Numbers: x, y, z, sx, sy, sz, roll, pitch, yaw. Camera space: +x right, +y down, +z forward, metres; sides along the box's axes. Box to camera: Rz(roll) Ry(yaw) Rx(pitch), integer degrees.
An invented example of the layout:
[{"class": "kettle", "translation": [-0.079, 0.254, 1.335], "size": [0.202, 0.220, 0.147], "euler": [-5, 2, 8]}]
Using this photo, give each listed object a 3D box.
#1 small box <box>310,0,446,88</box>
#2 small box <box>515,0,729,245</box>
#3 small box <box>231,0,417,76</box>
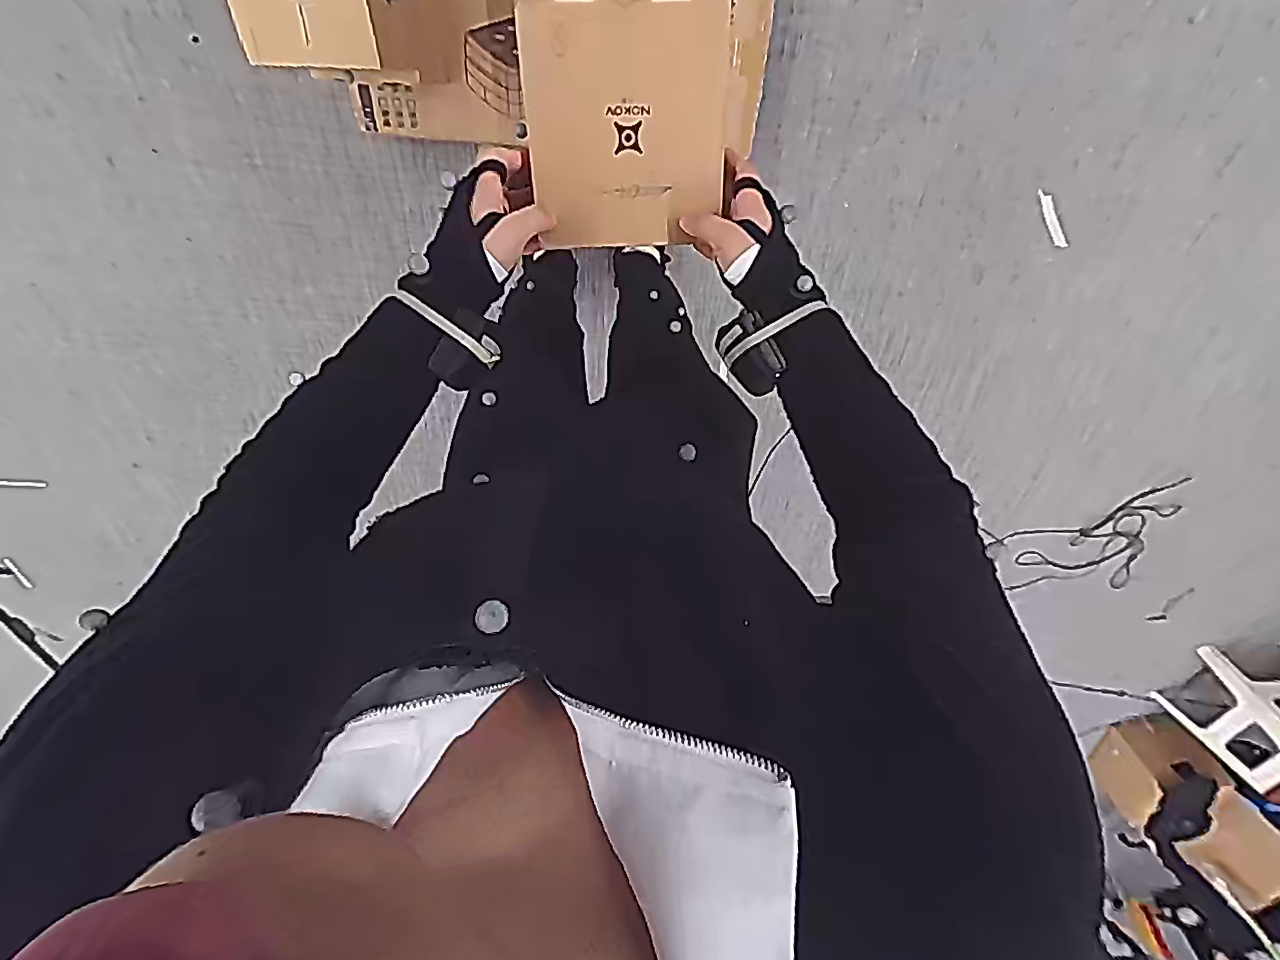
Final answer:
[{"class": "small box", "translation": [-0.413, -0.721, 0.837], "size": [0.168, 0.176, 0.179], "euler": [1, 127, -4]}, {"class": "small box", "translation": [-0.019, -0.332, 0.514], "size": [0.168, 0.176, 0.179], "euler": [-4, 123, -3]}, {"class": "small box", "translation": [-0.407, -0.636, 0.696], "size": [0.168, 0.176, 0.179], "euler": [0, 127, -3]}]
